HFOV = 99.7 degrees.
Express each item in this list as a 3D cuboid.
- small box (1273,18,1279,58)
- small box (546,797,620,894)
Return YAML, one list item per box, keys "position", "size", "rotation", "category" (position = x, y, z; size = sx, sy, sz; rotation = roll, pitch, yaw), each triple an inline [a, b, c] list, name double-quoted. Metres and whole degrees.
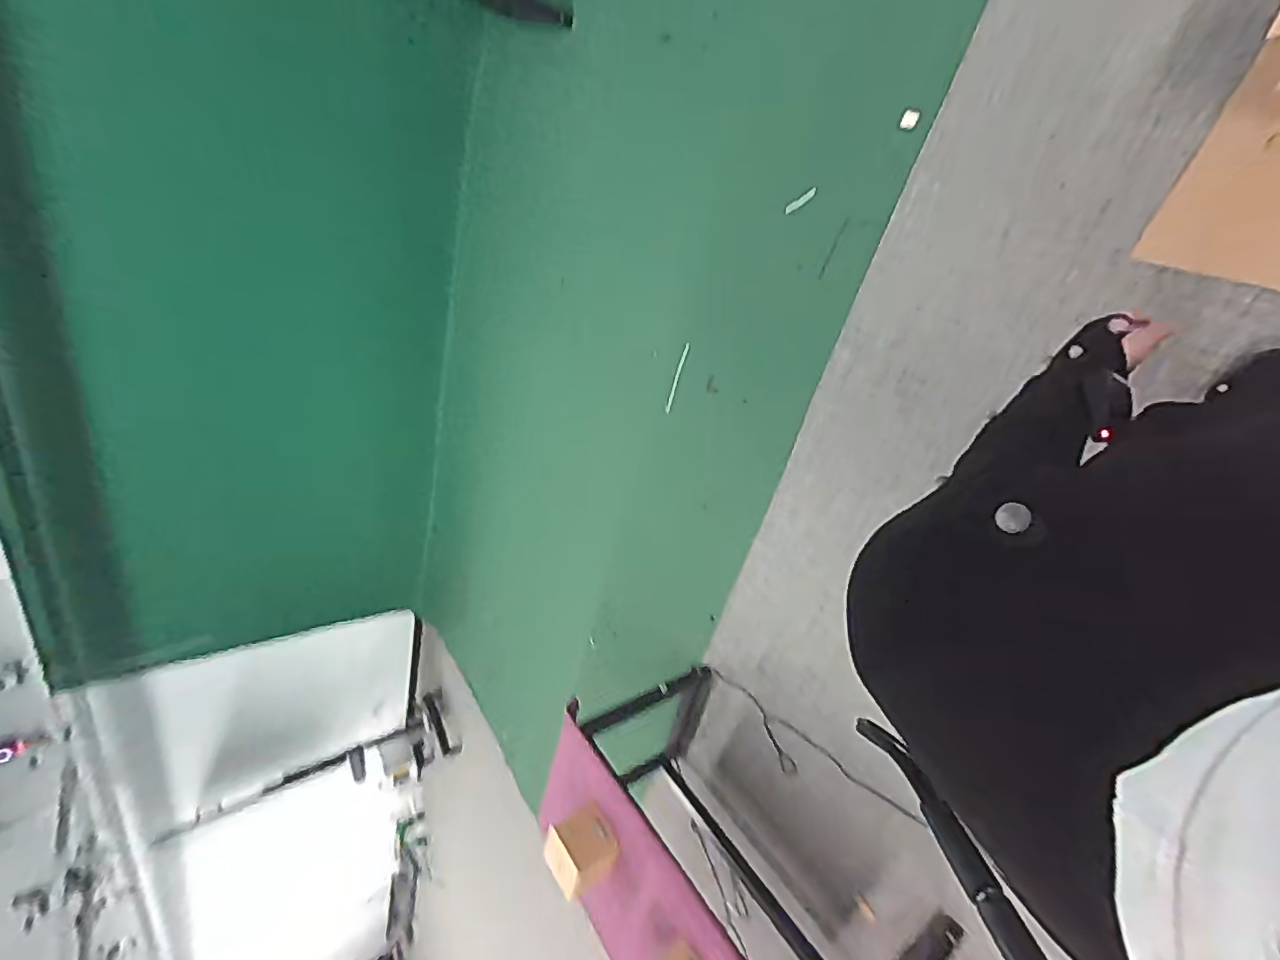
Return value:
- position: [1.096, -0.737, 0.790]
  size: [0.168, 0.176, 0.179]
  rotation: [34, 120, 40]
  category: "small box"
- position: [-0.186, 1.192, 1.772]
  size: [0.168, 0.176, 0.179]
  rotation: [40, 126, 37]
  category: "small box"
